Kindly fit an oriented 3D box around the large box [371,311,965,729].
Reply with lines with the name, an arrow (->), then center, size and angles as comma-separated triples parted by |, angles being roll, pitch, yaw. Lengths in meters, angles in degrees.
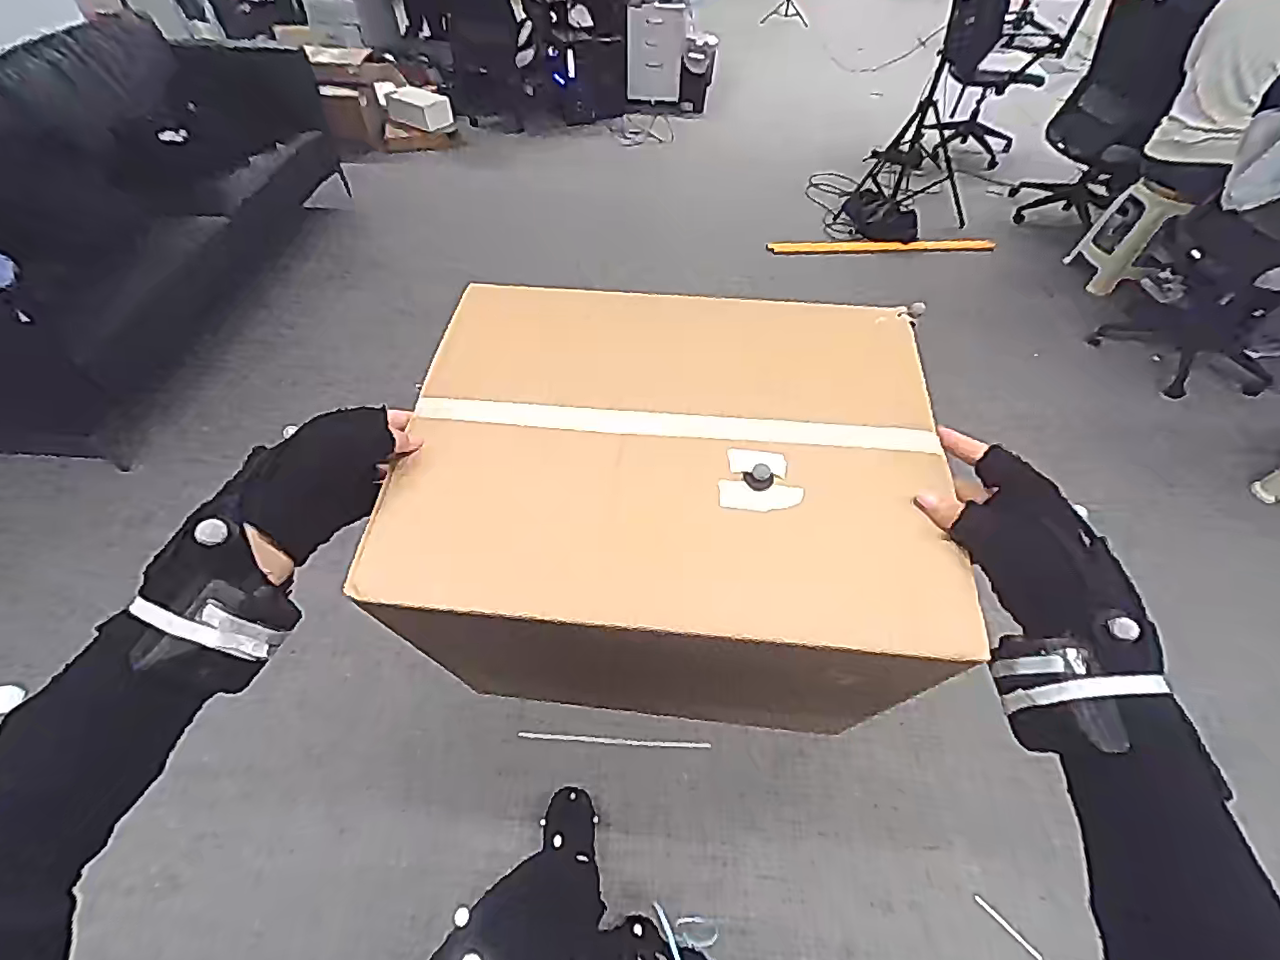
large box -> 0.026, 0.053, 0.560 | 0.408, 0.320, 0.320 | 4, 57, 4
